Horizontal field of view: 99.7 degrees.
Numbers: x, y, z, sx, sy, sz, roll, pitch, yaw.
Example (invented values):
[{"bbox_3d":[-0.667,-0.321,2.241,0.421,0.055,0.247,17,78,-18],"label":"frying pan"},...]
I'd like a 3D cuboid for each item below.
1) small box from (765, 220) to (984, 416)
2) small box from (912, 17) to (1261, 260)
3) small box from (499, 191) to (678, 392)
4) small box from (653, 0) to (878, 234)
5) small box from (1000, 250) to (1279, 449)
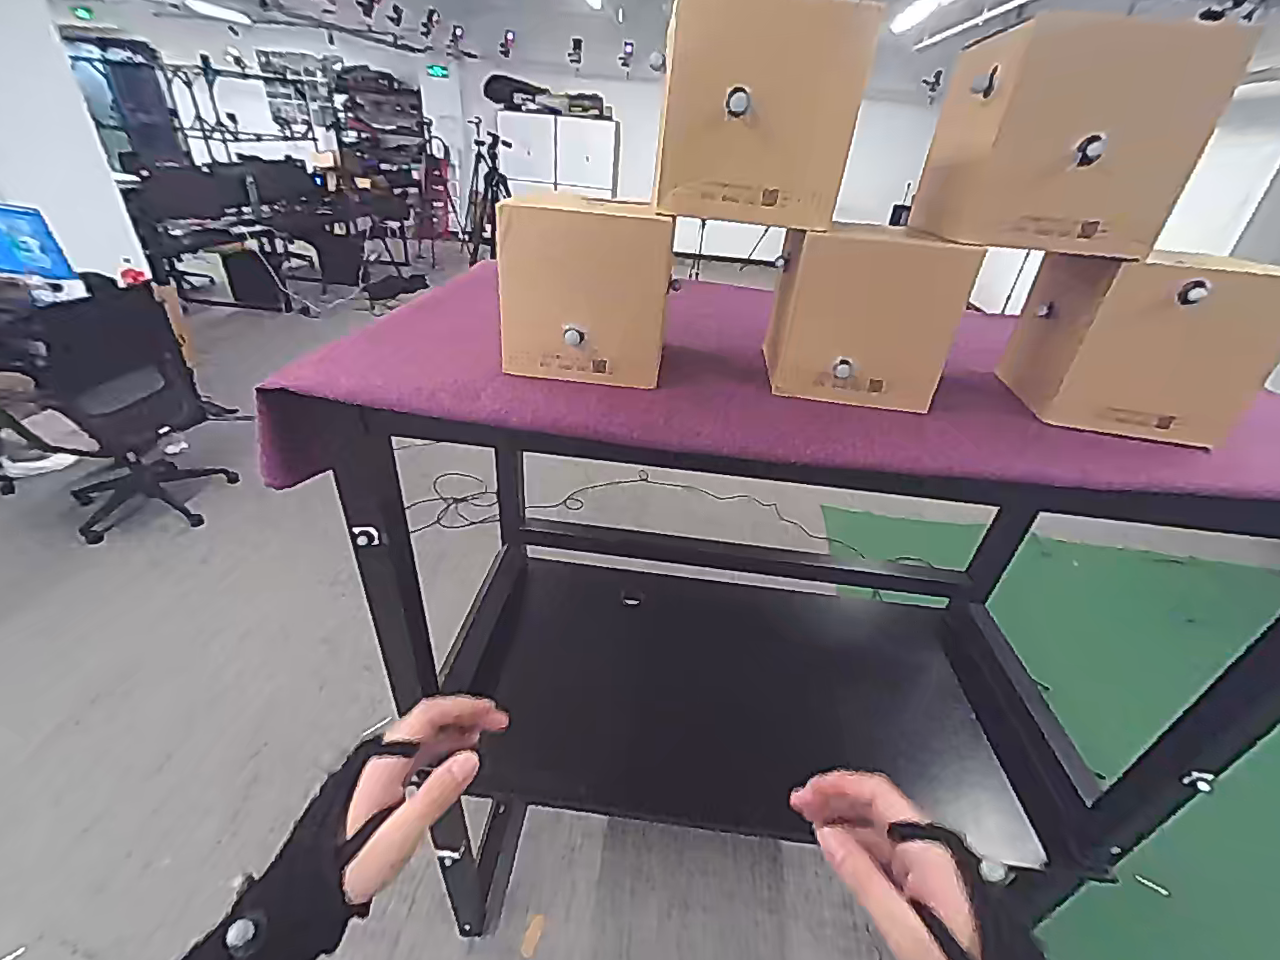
[{"bbox_3d":[0.240,-0.190,0.610,0.168,0.176,0.179,7,32,6],"label":"small box"},{"bbox_3d":[0.390,-0.316,0.519,0.168,0.176,0.179,8,31,5],"label":"small box"},{"bbox_3d":[-0.050,-0.215,0.605,0.168,0.176,0.179,6,32,2],"label":"small box"},{"bbox_3d":[0.103,-0.346,0.532,0.168,0.176,0.179,4,30,-2],"label":"small box"},{"bbox_3d":[0.531,-0.153,0.589,0.168,0.176,0.179,10,31,11],"label":"small box"}]
